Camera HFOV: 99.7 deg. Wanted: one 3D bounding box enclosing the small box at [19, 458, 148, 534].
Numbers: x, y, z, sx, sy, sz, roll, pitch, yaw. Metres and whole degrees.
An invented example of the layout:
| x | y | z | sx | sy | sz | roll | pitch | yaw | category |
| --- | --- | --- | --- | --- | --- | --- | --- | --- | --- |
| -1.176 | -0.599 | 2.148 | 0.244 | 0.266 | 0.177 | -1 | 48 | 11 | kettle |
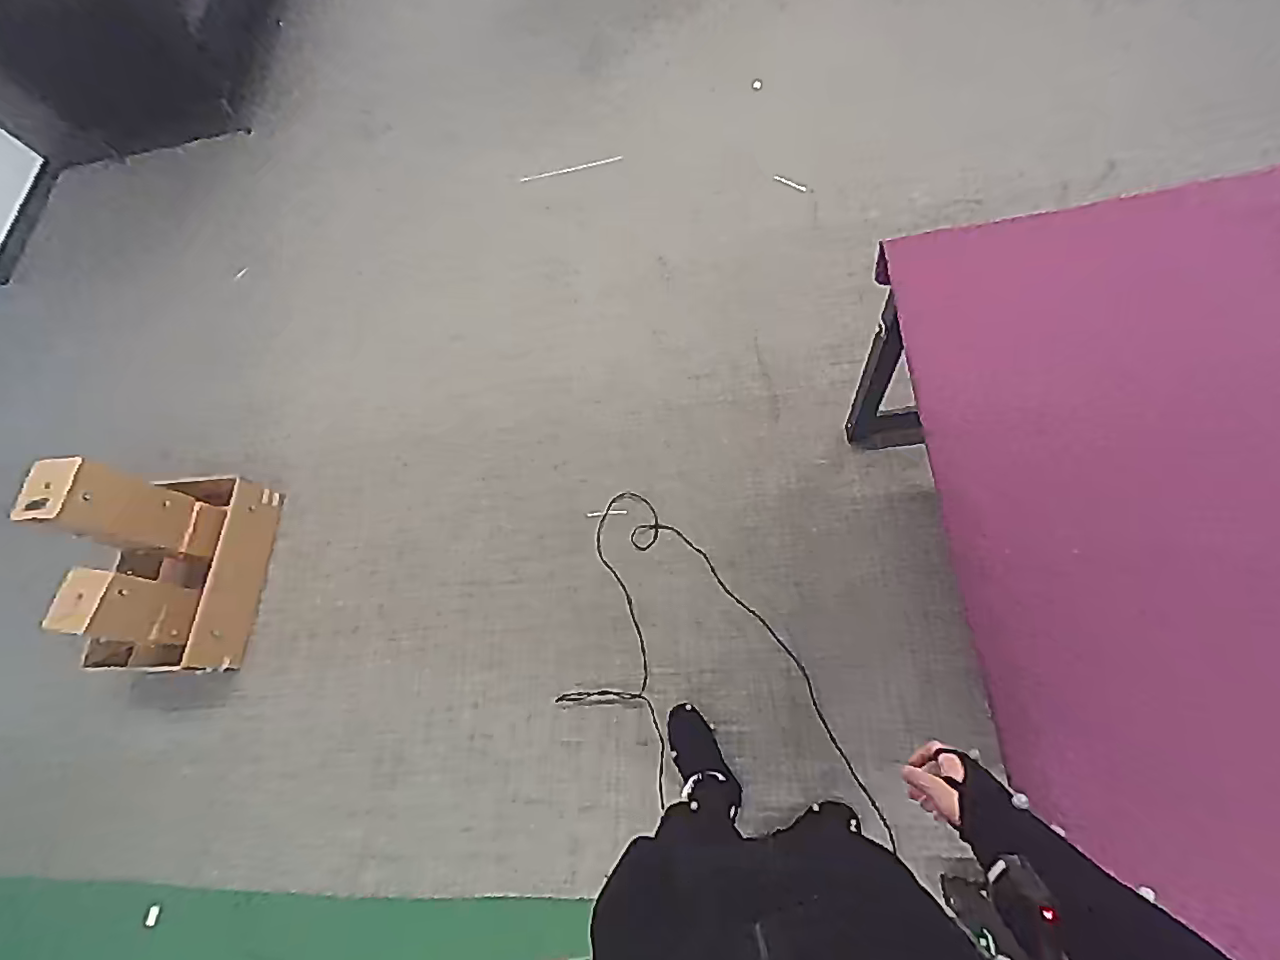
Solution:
| x | y | z | sx | sy | sz | roll | pitch | yaw | category |
| --- | --- | --- | --- | --- | --- | --- | --- | --- | --- |
| -1.556 | 0.052 | 1.525 | 0.168 | 0.176 | 0.179 | -3 | 68 | 11 | small box |
